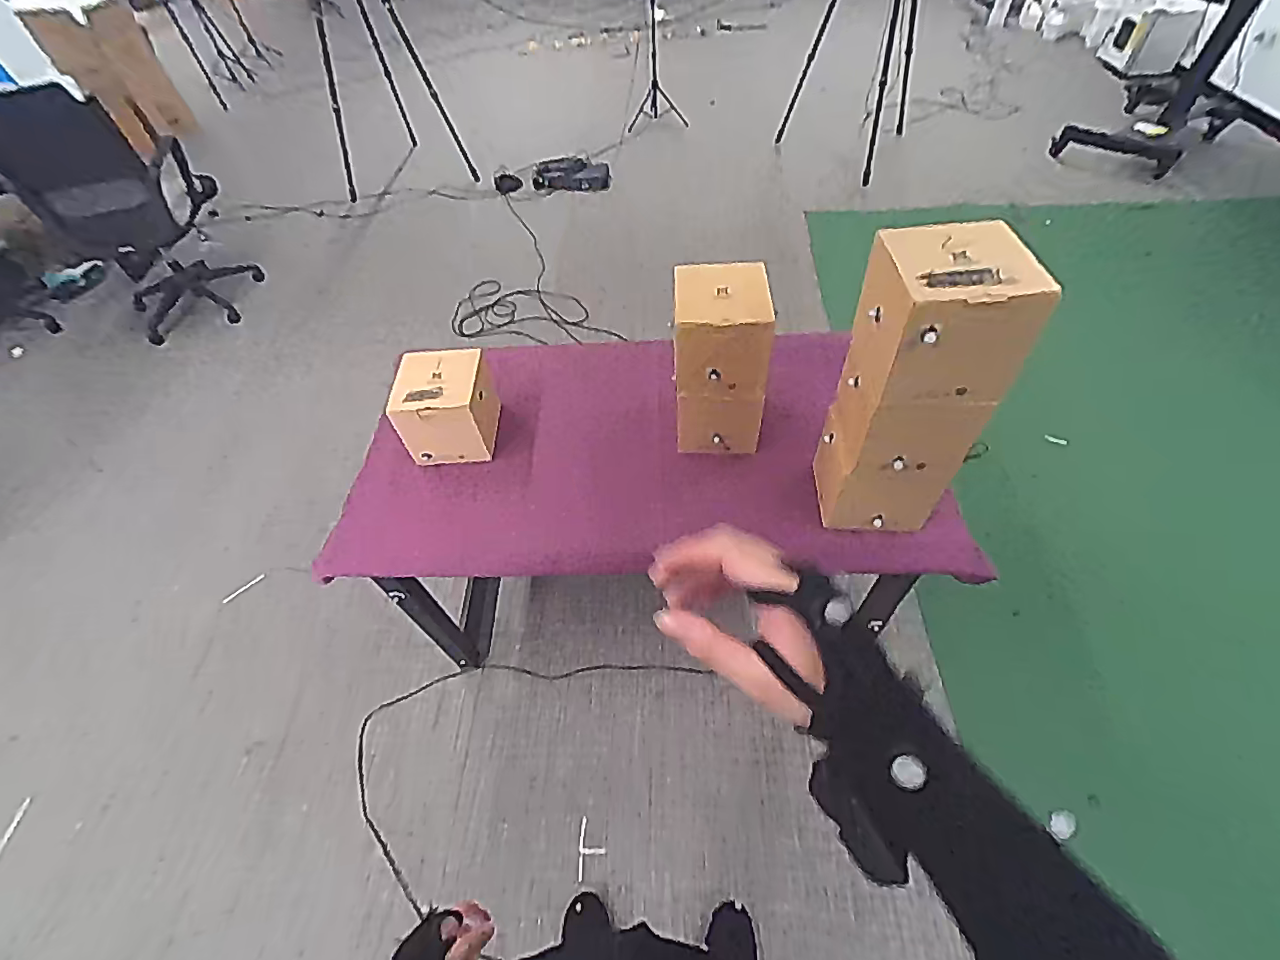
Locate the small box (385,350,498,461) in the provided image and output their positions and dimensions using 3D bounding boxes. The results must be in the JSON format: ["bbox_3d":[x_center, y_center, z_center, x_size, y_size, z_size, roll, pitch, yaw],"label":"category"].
[{"bbox_3d":[-0.410,-0.152,1.152,0.168,0.176,0.179,-3,52,0],"label":"small box"}]

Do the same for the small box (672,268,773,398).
[{"bbox_3d":[0.144,-0.272,1.008,0.168,0.176,0.179,-1,54,3],"label":"small box"}]

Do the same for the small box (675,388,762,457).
[{"bbox_3d":[0.159,-0.170,1.134,0.168,0.176,0.179,2,53,5],"label":"small box"}]

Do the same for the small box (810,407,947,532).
[{"bbox_3d":[0.427,-0.016,0.999,0.179,0.176,0.168,2,52,5],"label":"small box"}]

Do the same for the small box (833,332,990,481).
[{"bbox_3d":[0.419,-0.119,0.873,0.168,0.176,0.179,0,52,6],"label":"small box"}]
